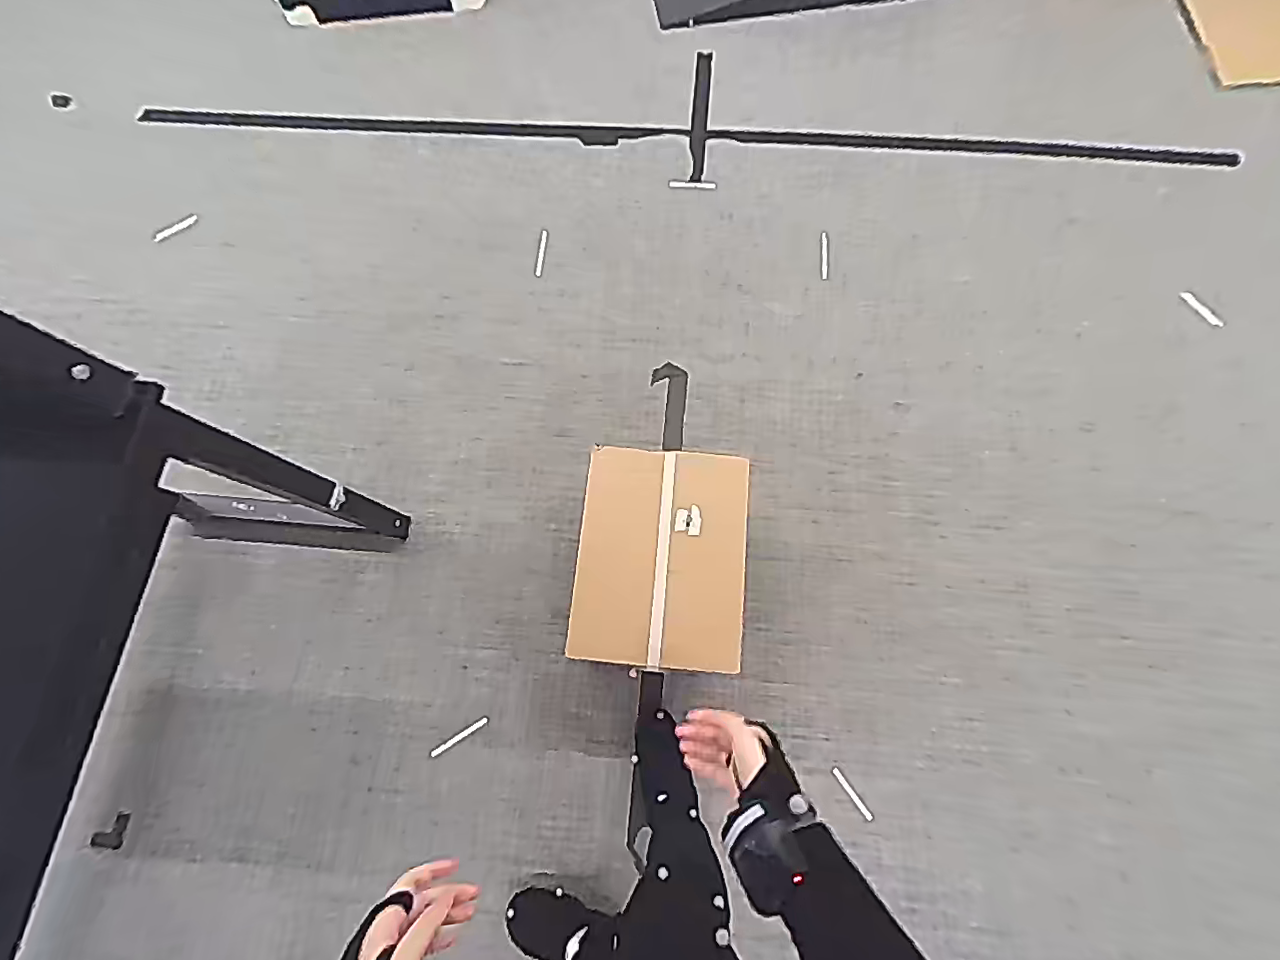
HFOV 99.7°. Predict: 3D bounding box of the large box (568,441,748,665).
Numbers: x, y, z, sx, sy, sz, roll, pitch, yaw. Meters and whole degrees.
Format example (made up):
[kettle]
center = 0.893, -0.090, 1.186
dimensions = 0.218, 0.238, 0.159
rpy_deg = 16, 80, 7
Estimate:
[large box]
center = 0.044, 0.166, 1.144
dimensions = 0.320, 0.320, 0.408
rpy_deg = 5, 74, 2
